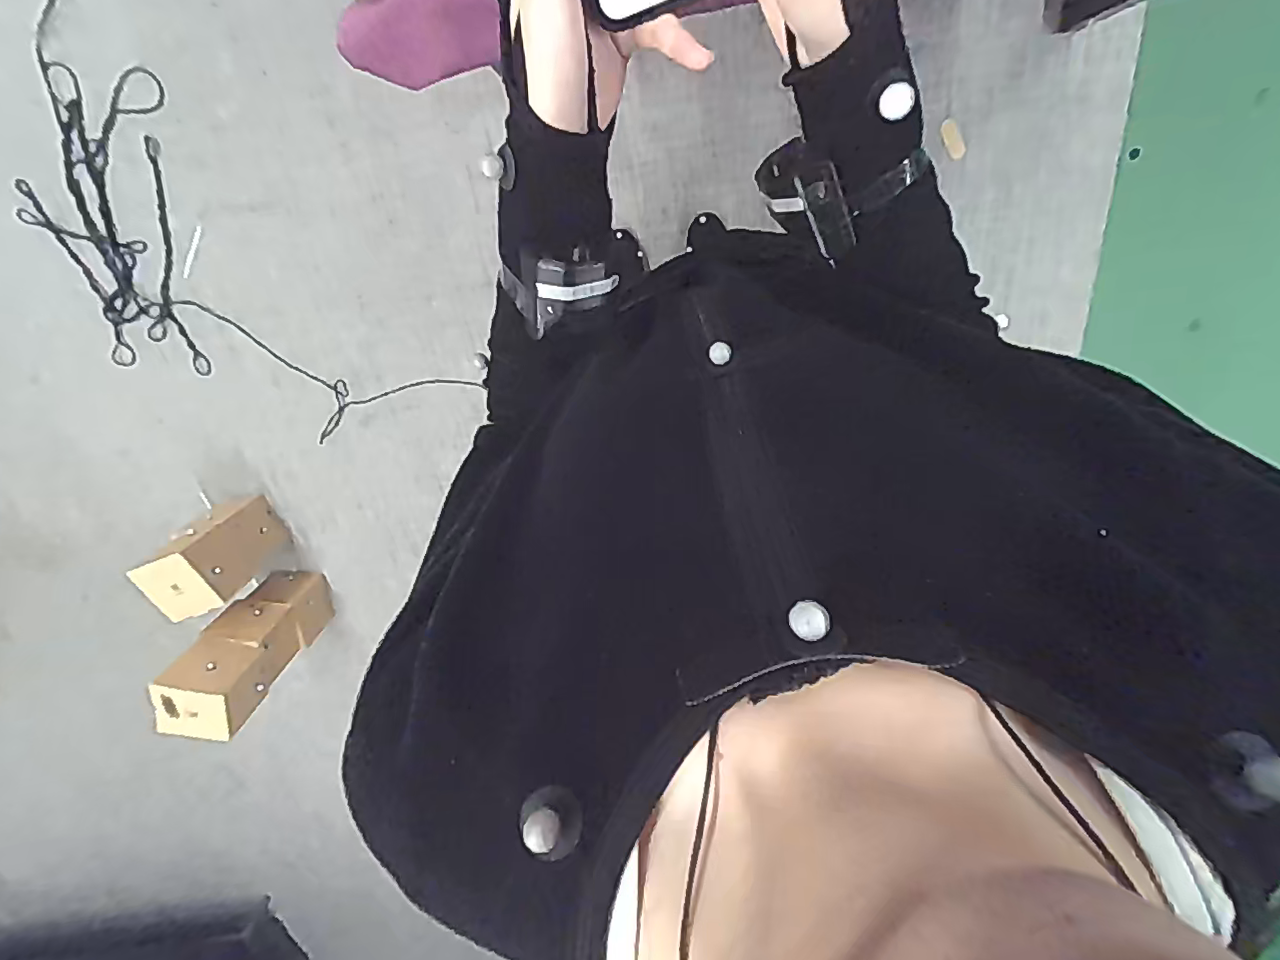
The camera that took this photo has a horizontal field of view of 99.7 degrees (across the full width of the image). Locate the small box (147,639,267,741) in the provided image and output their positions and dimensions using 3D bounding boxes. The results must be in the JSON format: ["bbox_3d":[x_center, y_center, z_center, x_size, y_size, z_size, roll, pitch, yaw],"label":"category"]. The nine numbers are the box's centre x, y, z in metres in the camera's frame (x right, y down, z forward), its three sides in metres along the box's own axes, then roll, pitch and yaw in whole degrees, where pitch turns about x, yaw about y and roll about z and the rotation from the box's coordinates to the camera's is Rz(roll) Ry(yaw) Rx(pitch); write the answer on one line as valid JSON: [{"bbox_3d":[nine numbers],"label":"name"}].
[{"bbox_3d":[-1.104,0.535,1.393,0.179,0.176,0.168,12,114,-6],"label":"small box"}]

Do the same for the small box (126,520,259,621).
[{"bbox_3d":[-1.169,0.235,1.431,0.168,0.176,0.179,-19,114,8],"label":"small box"}]

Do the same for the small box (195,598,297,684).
[{"bbox_3d":[-1.111,0.465,1.542,0.168,0.176,0.179,8,114,-3],"label":"small box"}]

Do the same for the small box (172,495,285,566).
[{"bbox_3d":[-1.183,0.162,1.576,0.179,0.176,0.168,-15,114,7],"label":"small box"}]
